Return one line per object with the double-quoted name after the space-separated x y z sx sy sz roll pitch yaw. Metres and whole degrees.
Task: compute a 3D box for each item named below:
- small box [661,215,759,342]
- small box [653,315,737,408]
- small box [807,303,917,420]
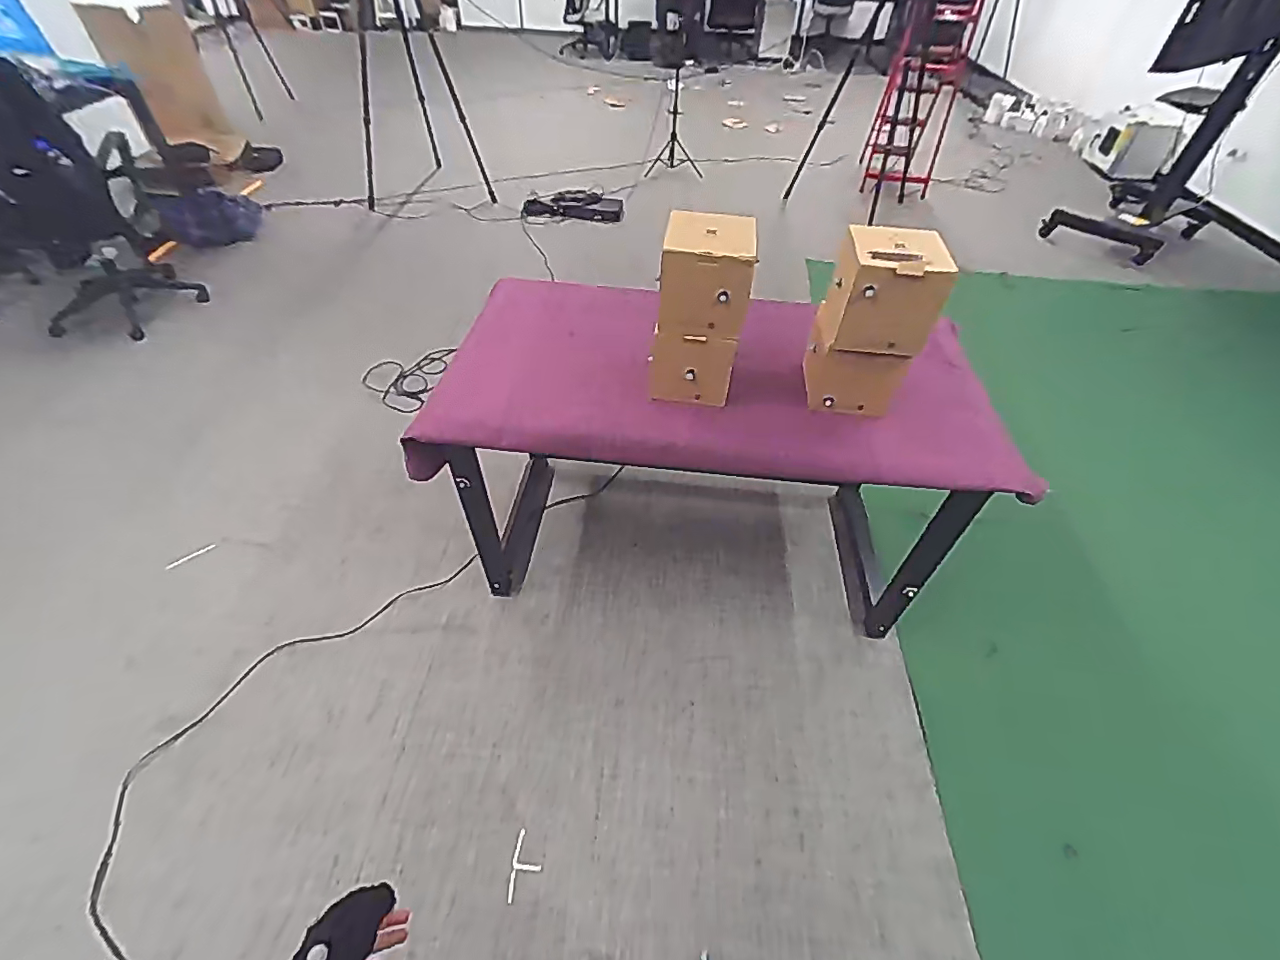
0.133 -0.387 1.044 0.168 0.176 0.179 8 47 4 "small box"
0.121 -0.276 1.163 0.168 0.176 0.179 8 48 5 "small box"
0.461 -0.249 1.151 0.168 0.176 0.179 10 48 4 "small box"
